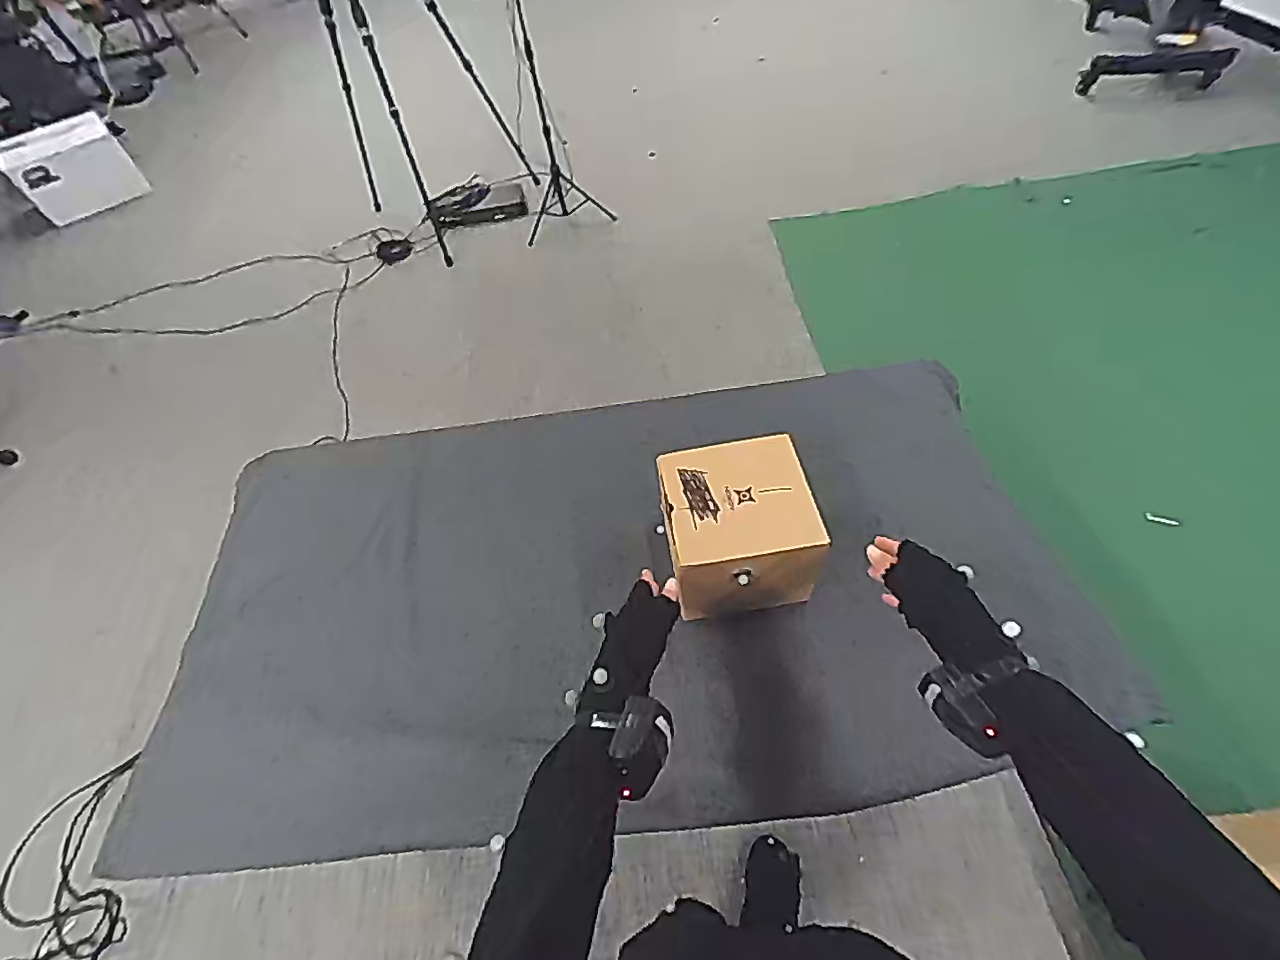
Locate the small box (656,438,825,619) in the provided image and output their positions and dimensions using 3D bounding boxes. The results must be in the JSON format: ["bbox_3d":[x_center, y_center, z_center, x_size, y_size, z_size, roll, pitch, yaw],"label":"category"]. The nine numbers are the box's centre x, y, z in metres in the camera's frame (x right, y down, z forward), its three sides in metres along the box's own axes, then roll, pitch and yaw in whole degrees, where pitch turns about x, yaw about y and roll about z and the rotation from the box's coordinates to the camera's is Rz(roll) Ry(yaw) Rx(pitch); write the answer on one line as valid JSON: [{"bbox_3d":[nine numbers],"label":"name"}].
[{"bbox_3d":[0.124,0.071,0.718,0.179,0.176,0.168,-9,55,0],"label":"small box"}]
